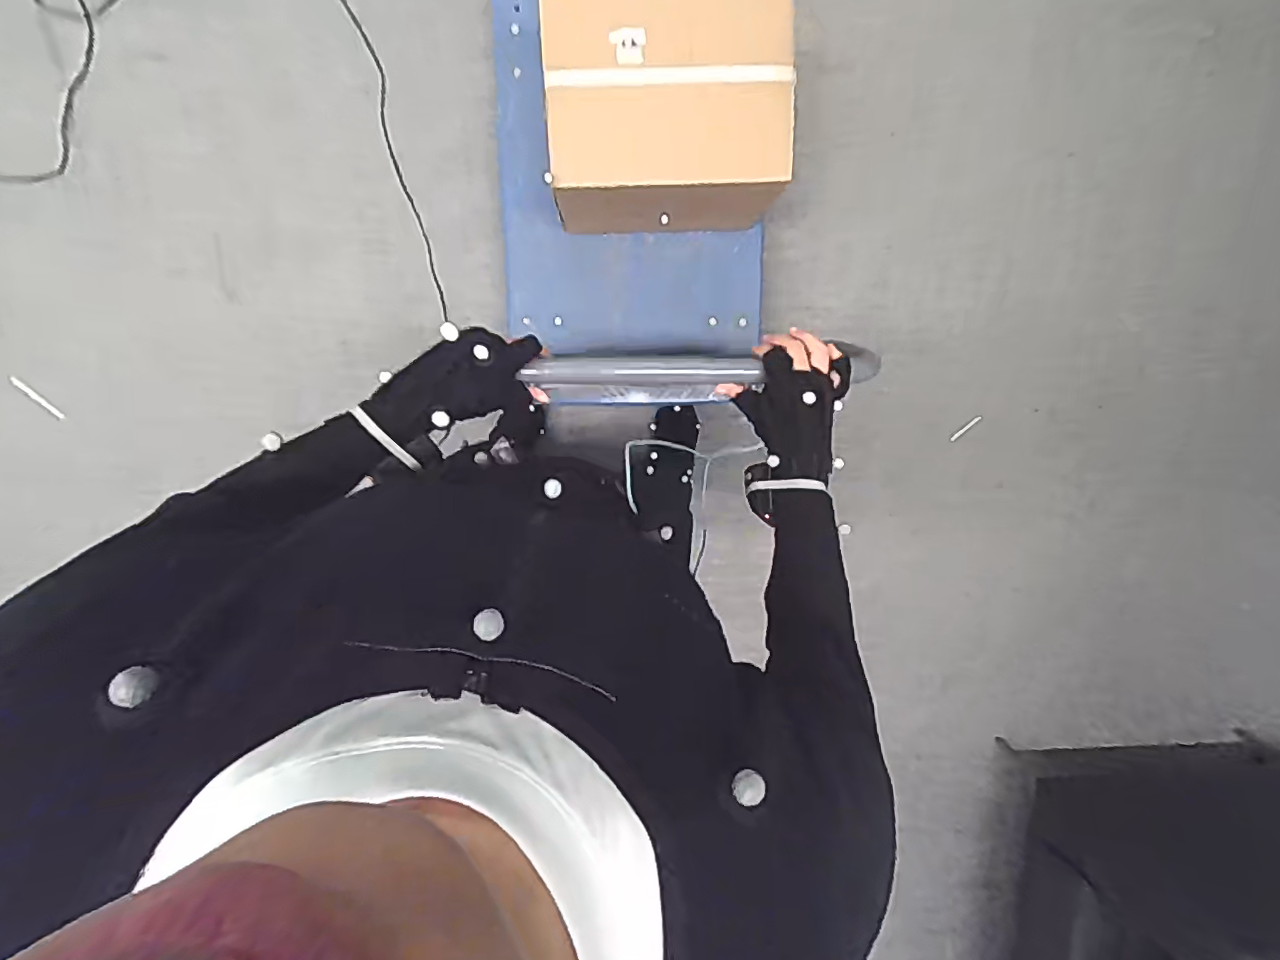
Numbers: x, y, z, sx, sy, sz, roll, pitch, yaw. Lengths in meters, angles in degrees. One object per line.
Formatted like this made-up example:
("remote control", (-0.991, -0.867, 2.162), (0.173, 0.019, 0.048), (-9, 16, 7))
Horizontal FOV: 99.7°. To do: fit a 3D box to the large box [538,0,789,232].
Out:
("large box", (0.041, -0.670, 1.017), (0.408, 0.320, 0.320), (-2, 100, -1))
